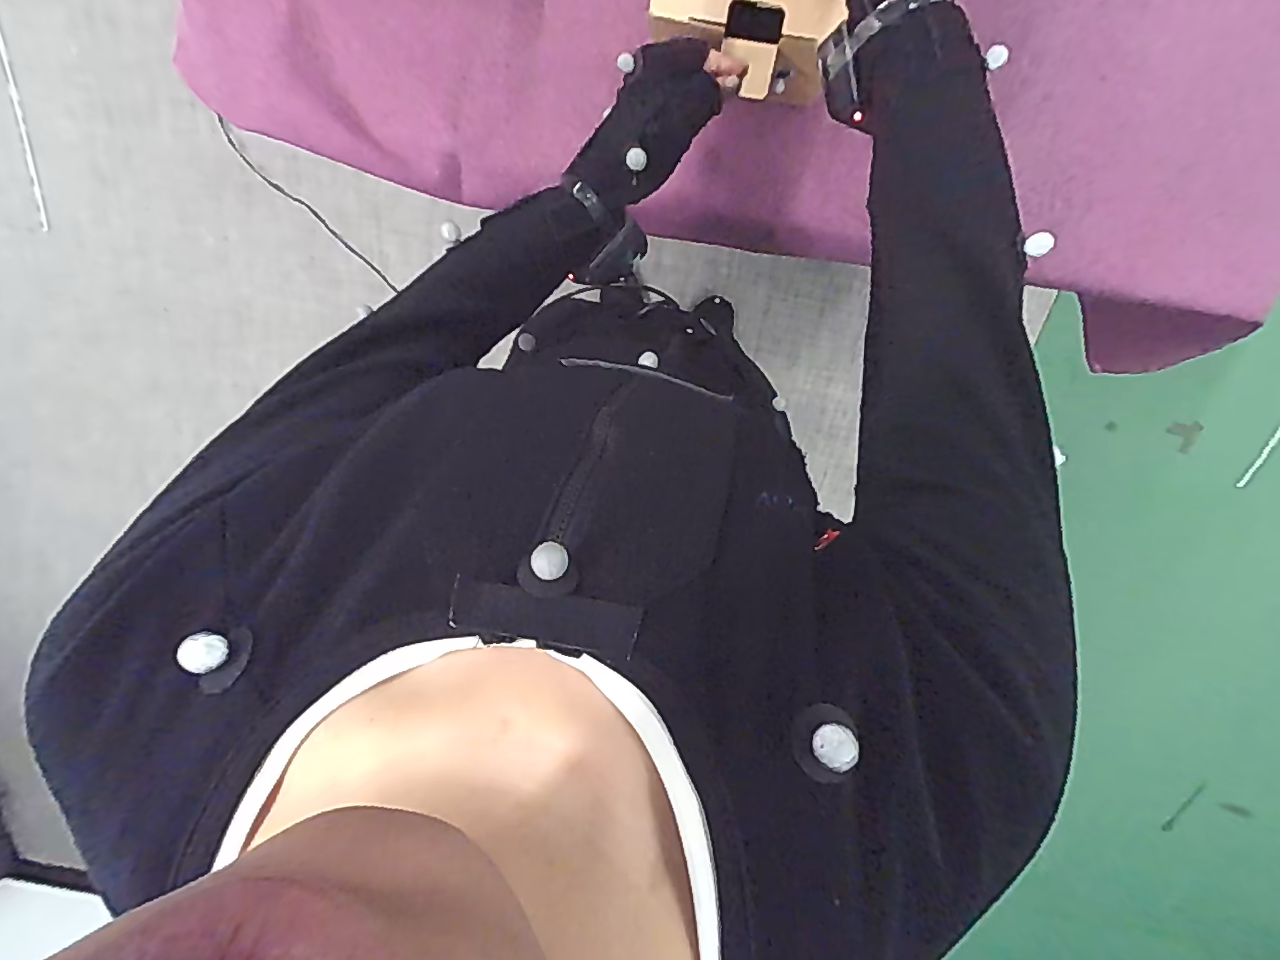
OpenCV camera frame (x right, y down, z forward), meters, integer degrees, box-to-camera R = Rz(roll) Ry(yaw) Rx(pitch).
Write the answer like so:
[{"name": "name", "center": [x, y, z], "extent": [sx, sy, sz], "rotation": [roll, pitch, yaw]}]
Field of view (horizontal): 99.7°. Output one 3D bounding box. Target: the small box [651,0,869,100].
[{"name": "small box", "center": [0.109, -0.455, 0.460], "extent": [0.168, 0.176, 0.179], "rotation": [10, 112, 0]}]
